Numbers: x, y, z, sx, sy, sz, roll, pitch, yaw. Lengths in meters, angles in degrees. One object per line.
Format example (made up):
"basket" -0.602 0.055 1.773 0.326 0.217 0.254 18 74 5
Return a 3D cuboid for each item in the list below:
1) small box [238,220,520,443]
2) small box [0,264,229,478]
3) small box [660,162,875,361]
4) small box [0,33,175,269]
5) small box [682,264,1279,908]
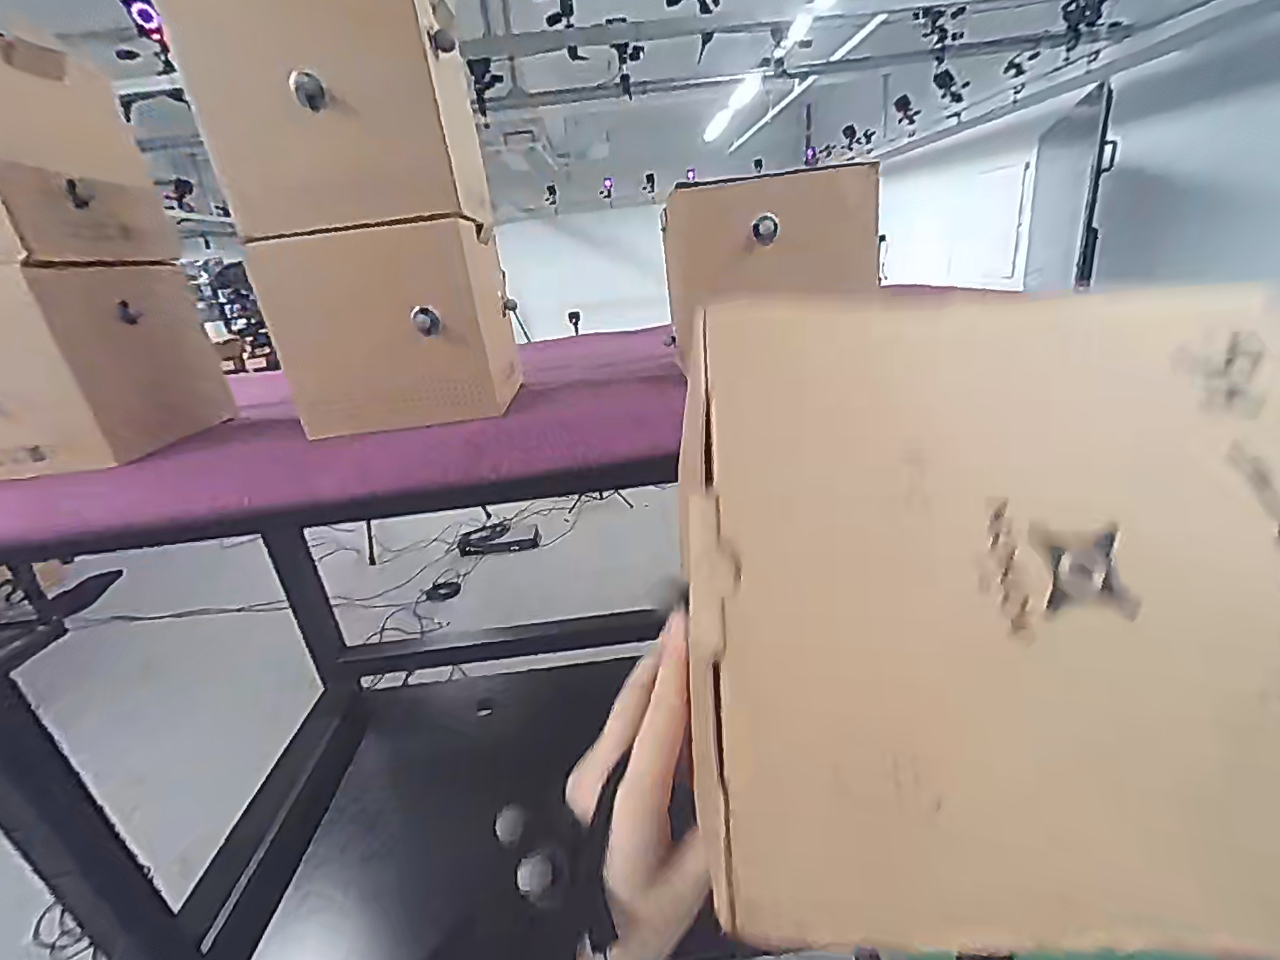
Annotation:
"small box" -0.224 -0.145 0.525 0.179 0.176 0.168 -8 22 -2
"small box" -0.543 -0.106 0.511 0.168 0.176 0.179 -6 22 -2
"small box" 0.120 -0.201 0.550 0.179 0.176 0.168 -7 20 0
"small box" -0.558 -0.256 0.449 0.179 0.176 0.168 -7 23 -3
"small box" 0.105 0.037 0.220 0.179 0.168 0.176 0 -15 3
